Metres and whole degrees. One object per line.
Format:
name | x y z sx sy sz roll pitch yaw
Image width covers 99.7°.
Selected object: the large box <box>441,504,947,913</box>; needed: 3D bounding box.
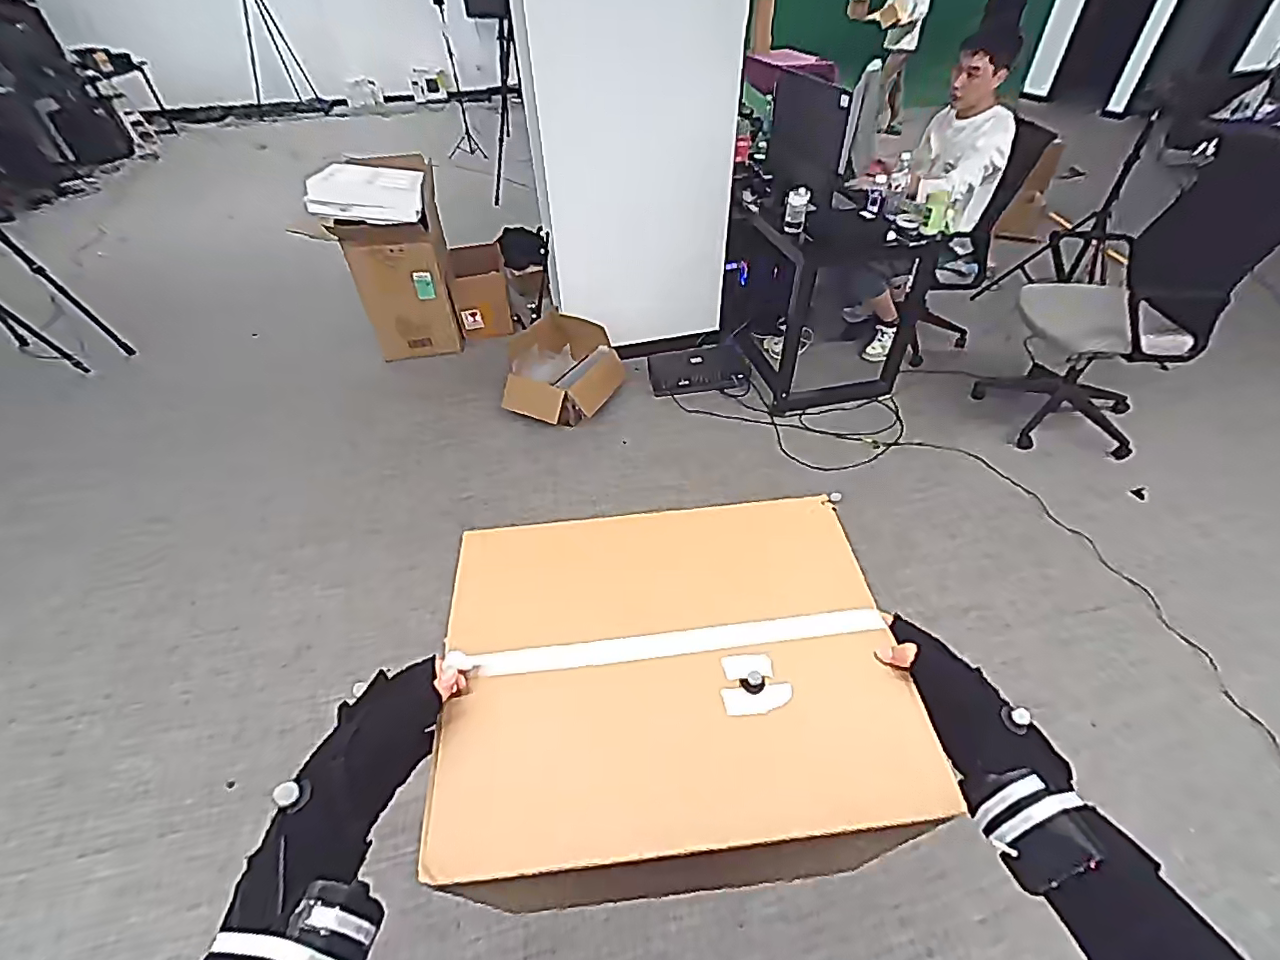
large box | 0.032 0.260 0.619 0.408 0.320 0.320 -6 48 -3
